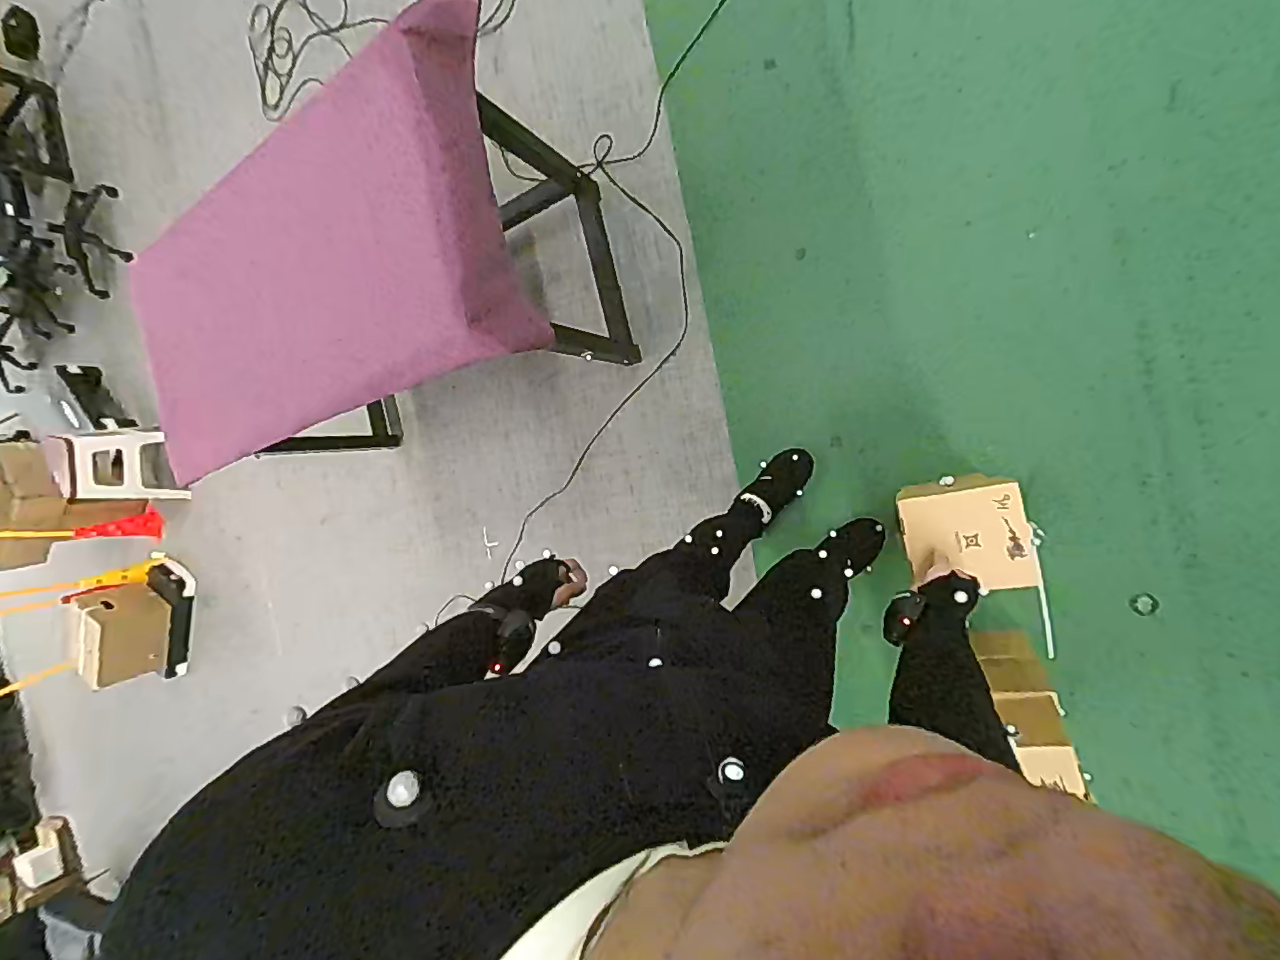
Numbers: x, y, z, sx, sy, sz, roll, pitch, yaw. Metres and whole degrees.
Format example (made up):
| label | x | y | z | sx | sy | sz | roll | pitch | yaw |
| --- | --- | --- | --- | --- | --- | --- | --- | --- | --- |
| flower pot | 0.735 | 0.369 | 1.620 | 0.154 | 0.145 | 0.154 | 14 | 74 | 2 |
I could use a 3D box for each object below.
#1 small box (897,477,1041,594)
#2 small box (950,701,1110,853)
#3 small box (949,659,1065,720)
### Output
| label | x | y | z | sx | sy | sz | roll | pitch | yaw |
| --- | --- | --- | --- | --- | --- | --- | --- | --- | --- |
| small box | 0.557 | 0.092 | 0.931 | 0.179 | 0.176 | 0.168 | -12 | 88 | 28 |
| small box | 0.649 | 0.496 | 0.923 | 0.179 | 0.176 | 0.168 | -19 | 87 | 30 |
| small box | 0.723 | 0.464 | 1.066 | 0.179 | 0.176 | 0.168 | -13 | 90 | 29 |
